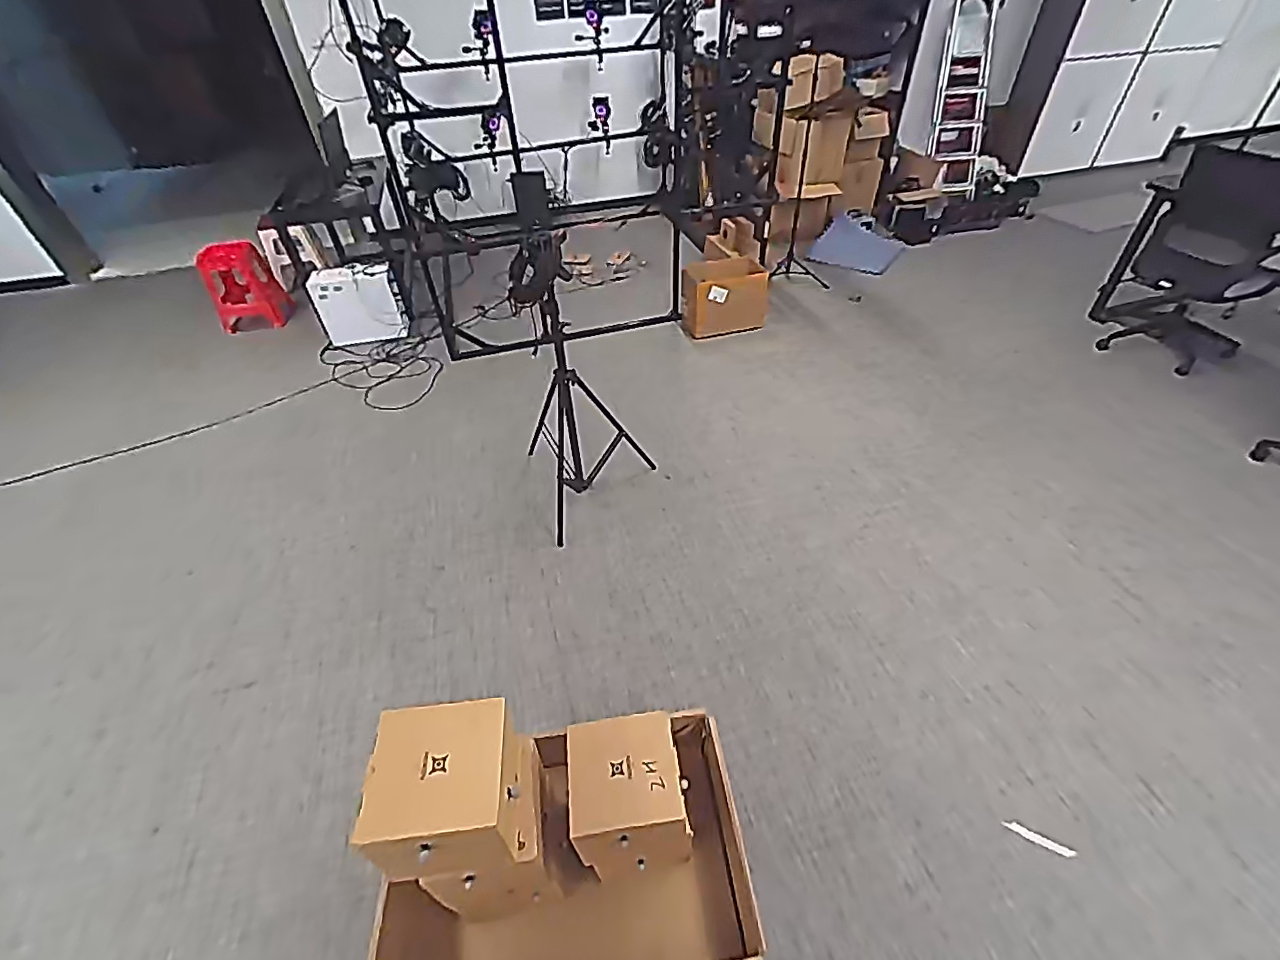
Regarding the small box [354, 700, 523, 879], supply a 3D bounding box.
[{"bbox_3d":[-0.264,0.434,0.760,0.179,0.176,0.168,-6,42,-5],"label":"small box"}]
